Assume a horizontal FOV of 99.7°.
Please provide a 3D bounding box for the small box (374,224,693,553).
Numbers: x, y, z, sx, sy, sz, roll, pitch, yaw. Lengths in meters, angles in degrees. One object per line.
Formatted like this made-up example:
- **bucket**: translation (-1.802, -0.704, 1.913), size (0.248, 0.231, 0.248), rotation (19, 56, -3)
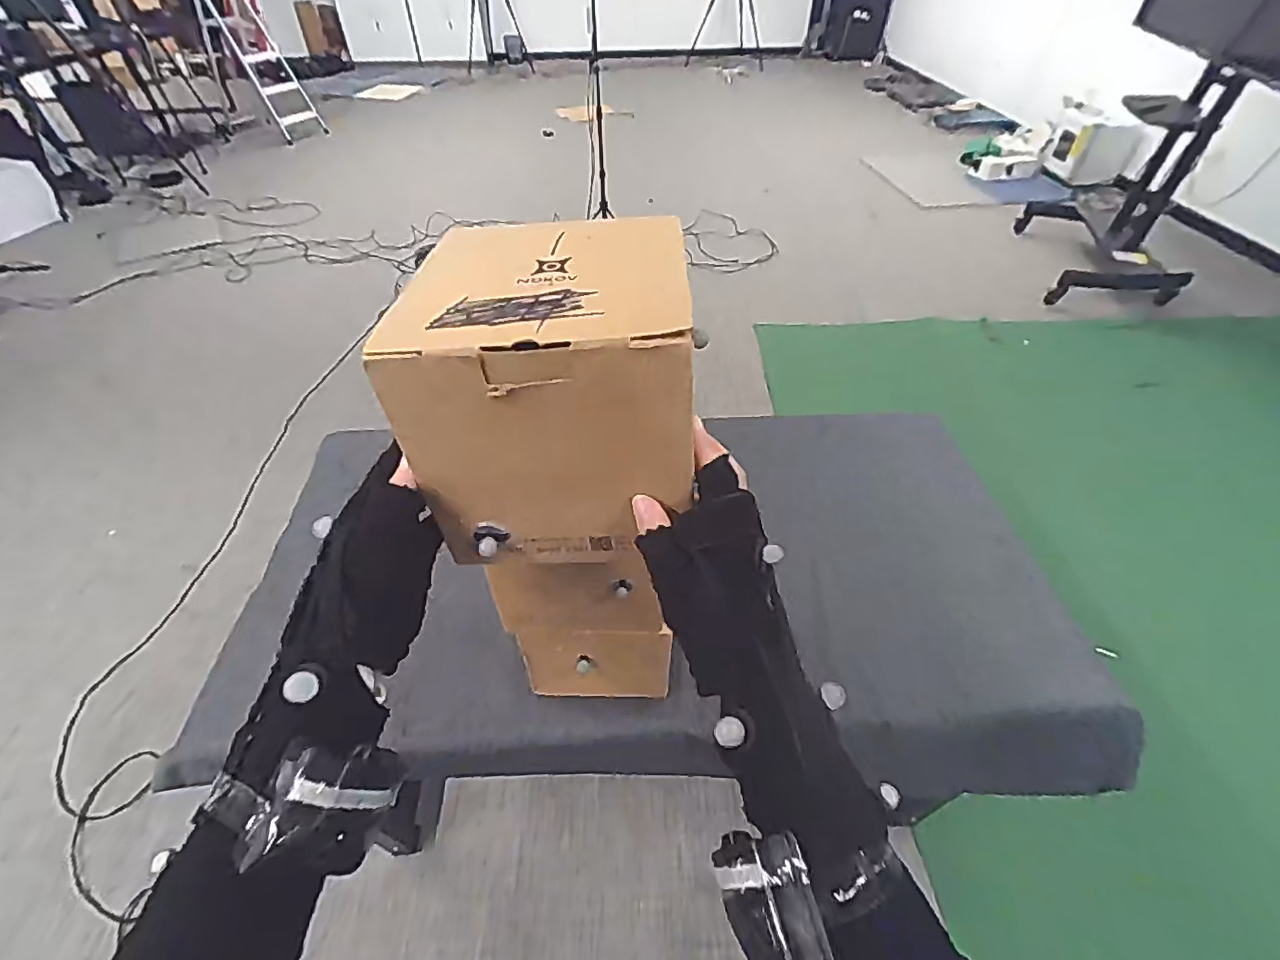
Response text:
- **small box**: translation (-0.047, -0.062, 0.382), size (0.168, 0.176, 0.179), rotation (-1, 42, 3)

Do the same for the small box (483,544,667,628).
- **small box**: translation (-0.061, 0.052, 0.604), size (0.179, 0.176, 0.168), rotation (-1, 44, 0)

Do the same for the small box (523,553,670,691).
- **small box**: translation (-0.049, 0.167, 0.720), size (0.179, 0.176, 0.168), rotation (1, 45, 1)
